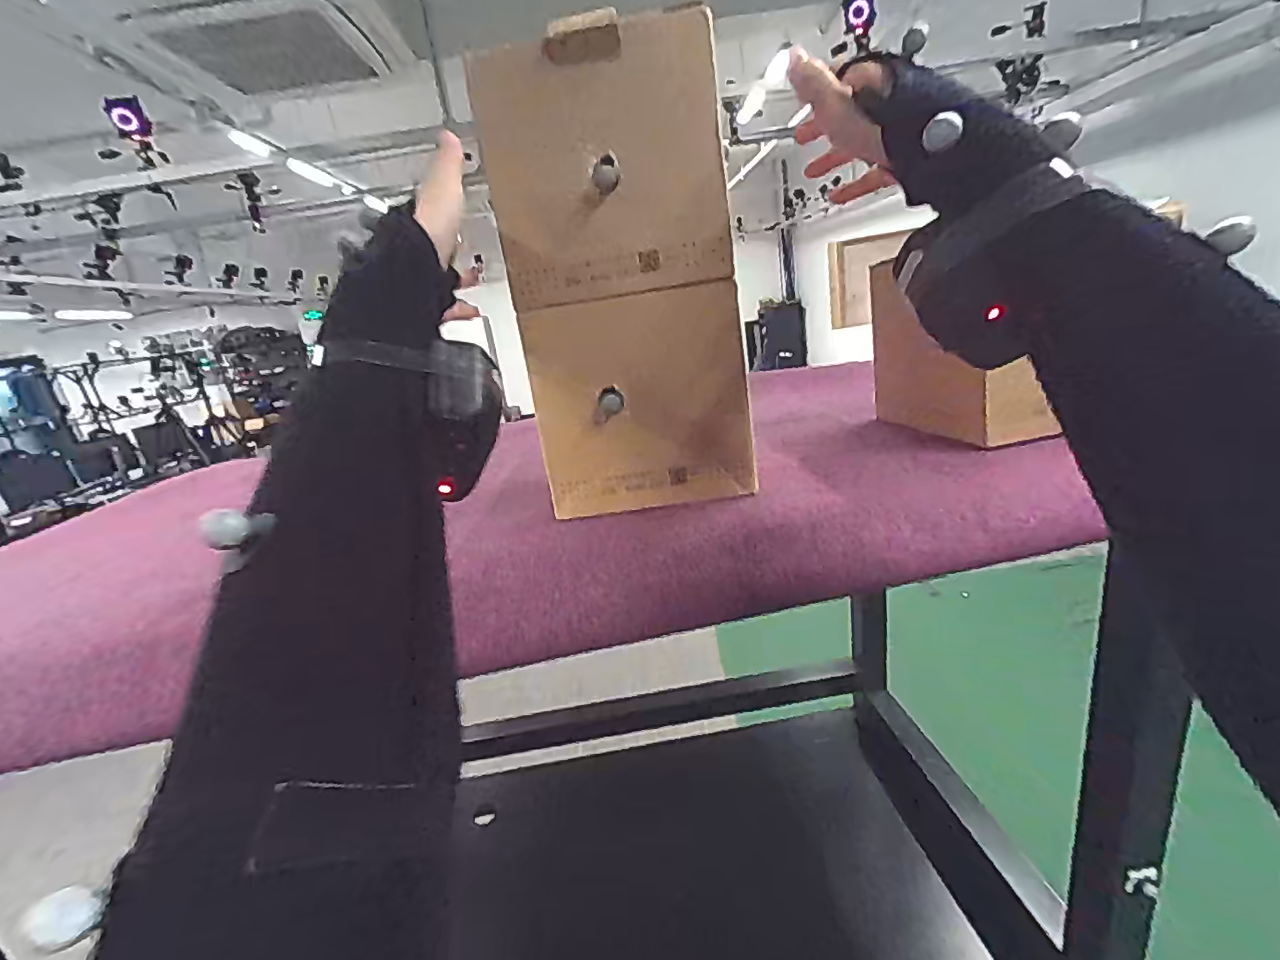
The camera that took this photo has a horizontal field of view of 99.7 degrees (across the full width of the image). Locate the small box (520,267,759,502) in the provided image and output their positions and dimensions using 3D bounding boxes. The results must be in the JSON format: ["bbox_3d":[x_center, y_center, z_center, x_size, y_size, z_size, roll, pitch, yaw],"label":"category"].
[{"bbox_3d":[0.007,-0.083,0.489,0.168,0.176,0.179,-8,15,4],"label":"small box"}]

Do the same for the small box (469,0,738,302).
[{"bbox_3d":[-0.017,-0.240,0.445,0.168,0.176,0.179,-7,16,4],"label":"small box"}]

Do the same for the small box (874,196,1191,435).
[{"bbox_3d":[0.343,-0.143,0.506,0.168,0.176,0.179,-10,15,-3],"label":"small box"}]
